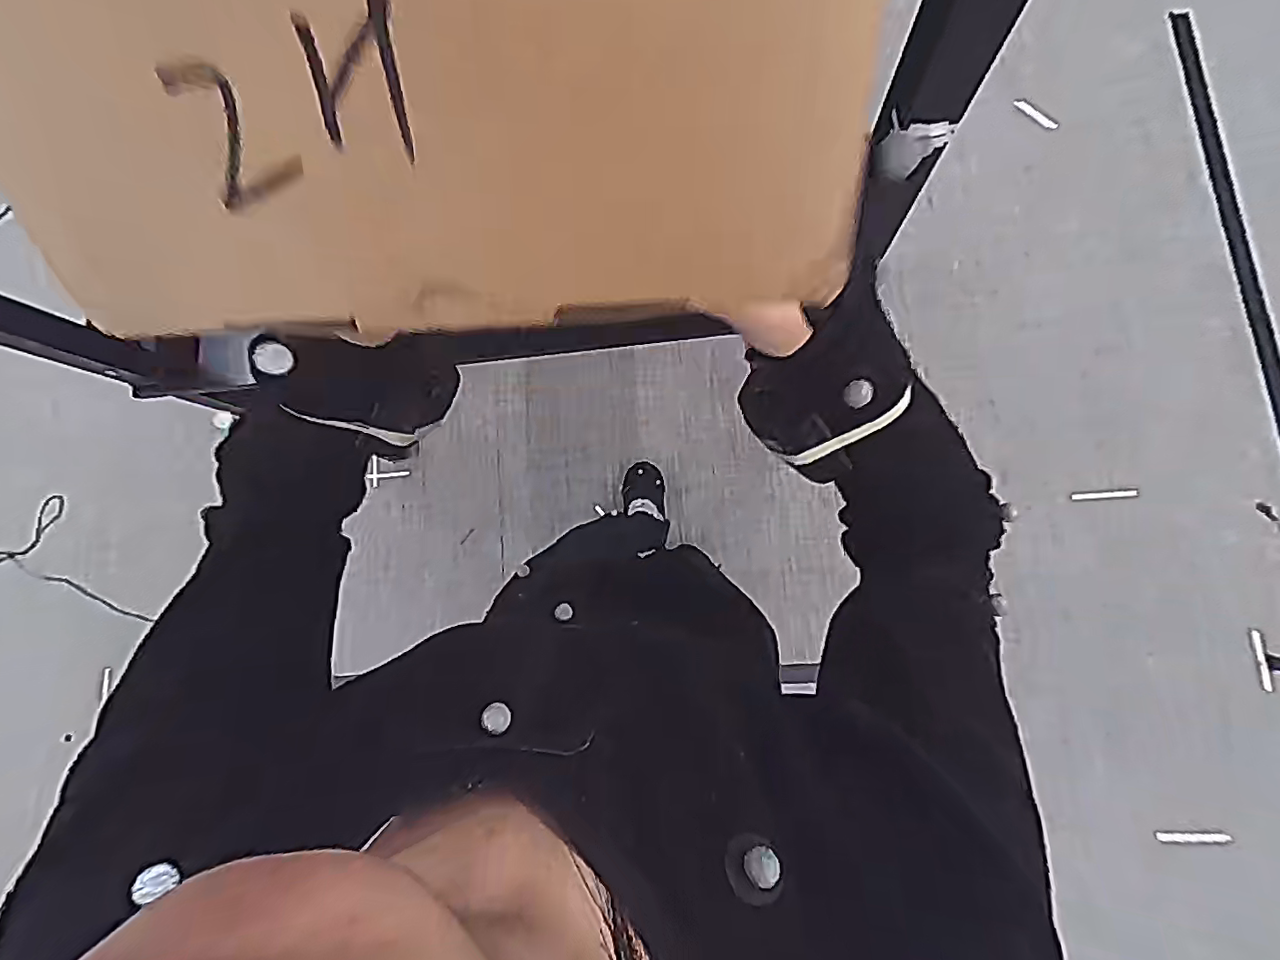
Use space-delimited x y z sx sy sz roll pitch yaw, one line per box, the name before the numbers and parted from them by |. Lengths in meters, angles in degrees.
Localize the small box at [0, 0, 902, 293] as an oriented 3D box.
small box | -0.040 -0.157 0.129 0.168 0.176 0.179 -1 124 5
